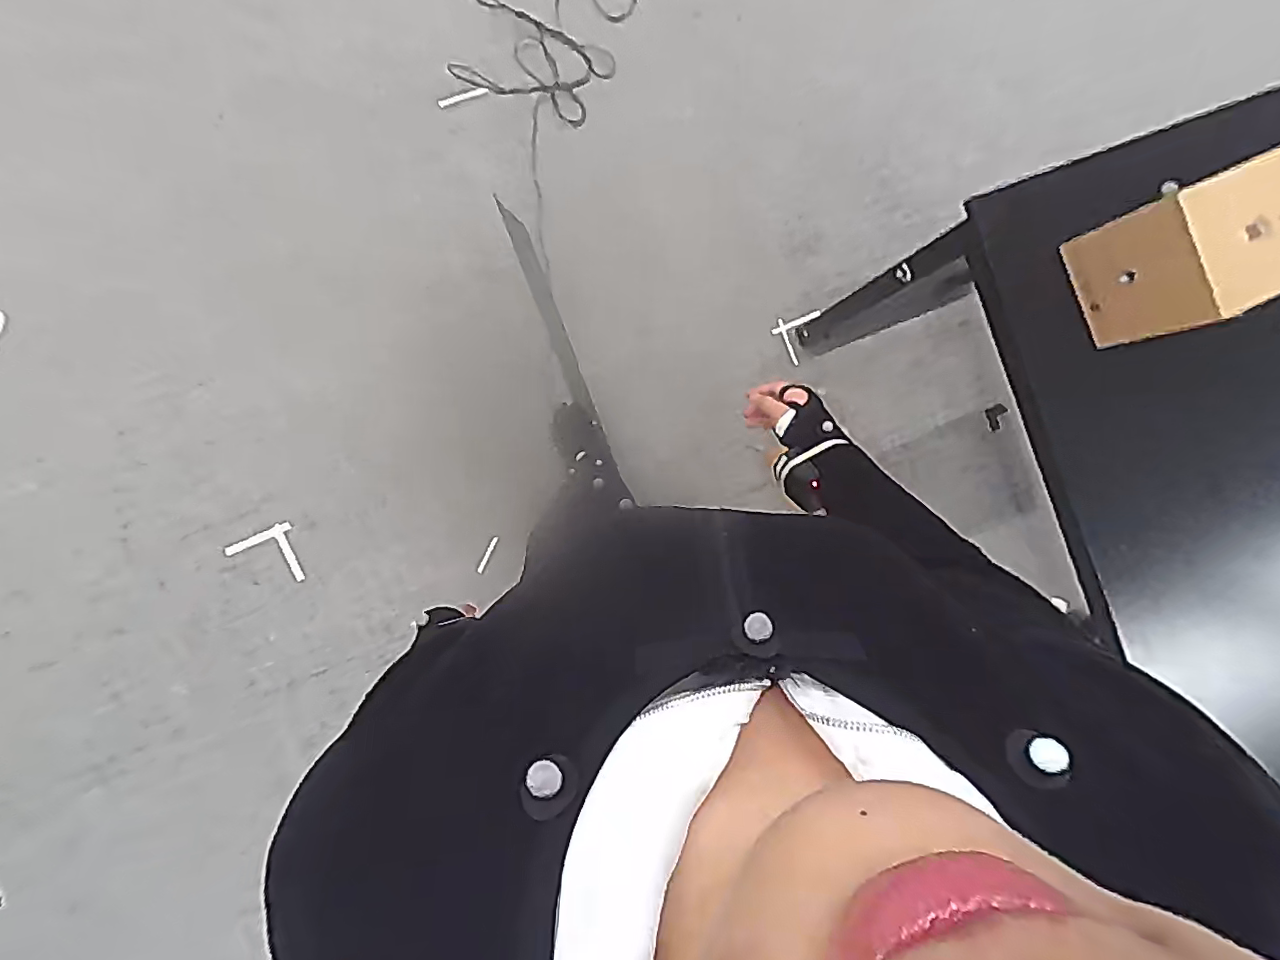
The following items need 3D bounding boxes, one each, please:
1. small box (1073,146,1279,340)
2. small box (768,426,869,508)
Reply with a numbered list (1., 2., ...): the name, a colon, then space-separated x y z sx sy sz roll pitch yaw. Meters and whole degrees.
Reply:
1. small box: 0.751 -0.312 0.746 0.179 0.176 0.168 -24 94 -5
2. small box: 0.474 -0.037 1.459 0.179 0.176 0.168 -23 93 -3
